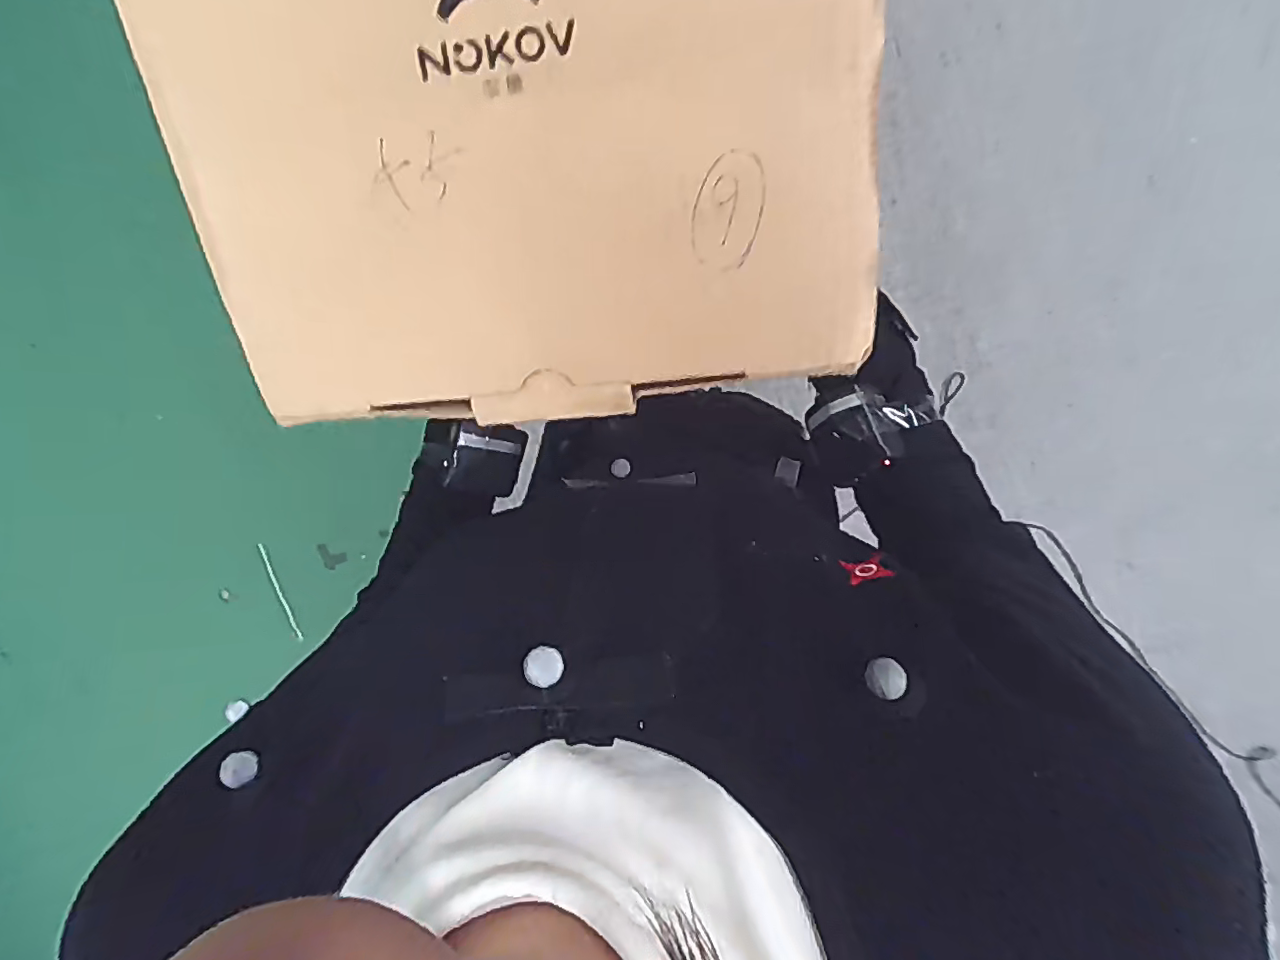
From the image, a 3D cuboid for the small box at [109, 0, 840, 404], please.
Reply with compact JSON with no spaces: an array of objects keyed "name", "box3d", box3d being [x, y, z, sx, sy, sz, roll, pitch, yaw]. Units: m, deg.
[{"name":"small box","box3d":[-0.031,-0.137,0.193,0.168,0.176,0.179,-4,111,7]}]
